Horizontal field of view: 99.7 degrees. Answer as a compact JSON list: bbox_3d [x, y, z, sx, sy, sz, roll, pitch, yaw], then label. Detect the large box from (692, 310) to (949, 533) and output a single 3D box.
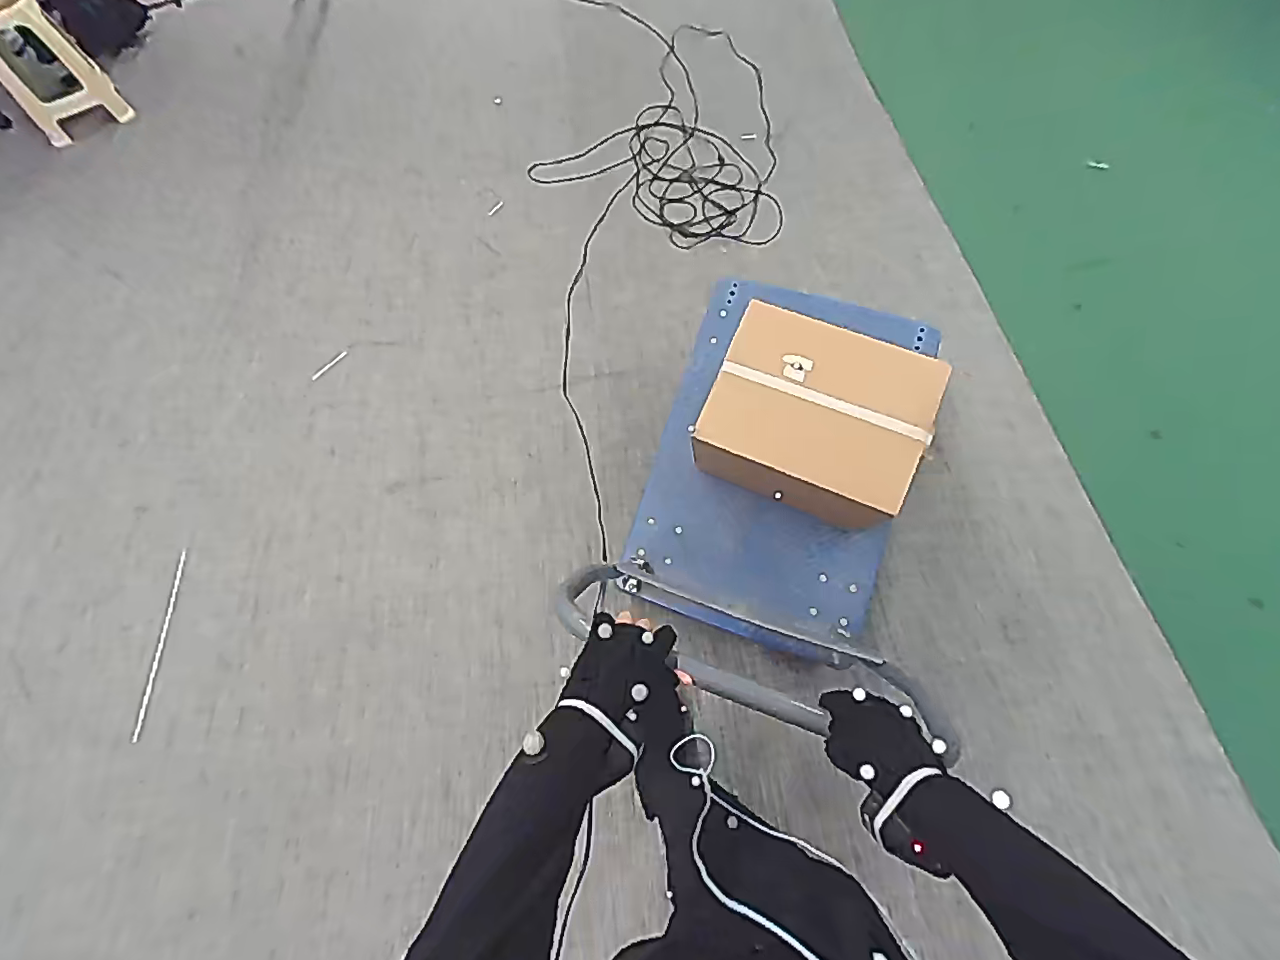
[{"bbox_3d":[0.365,-0.107,1.176,0.408,0.320,0.320,23,83,13],"label":"large box"}]
